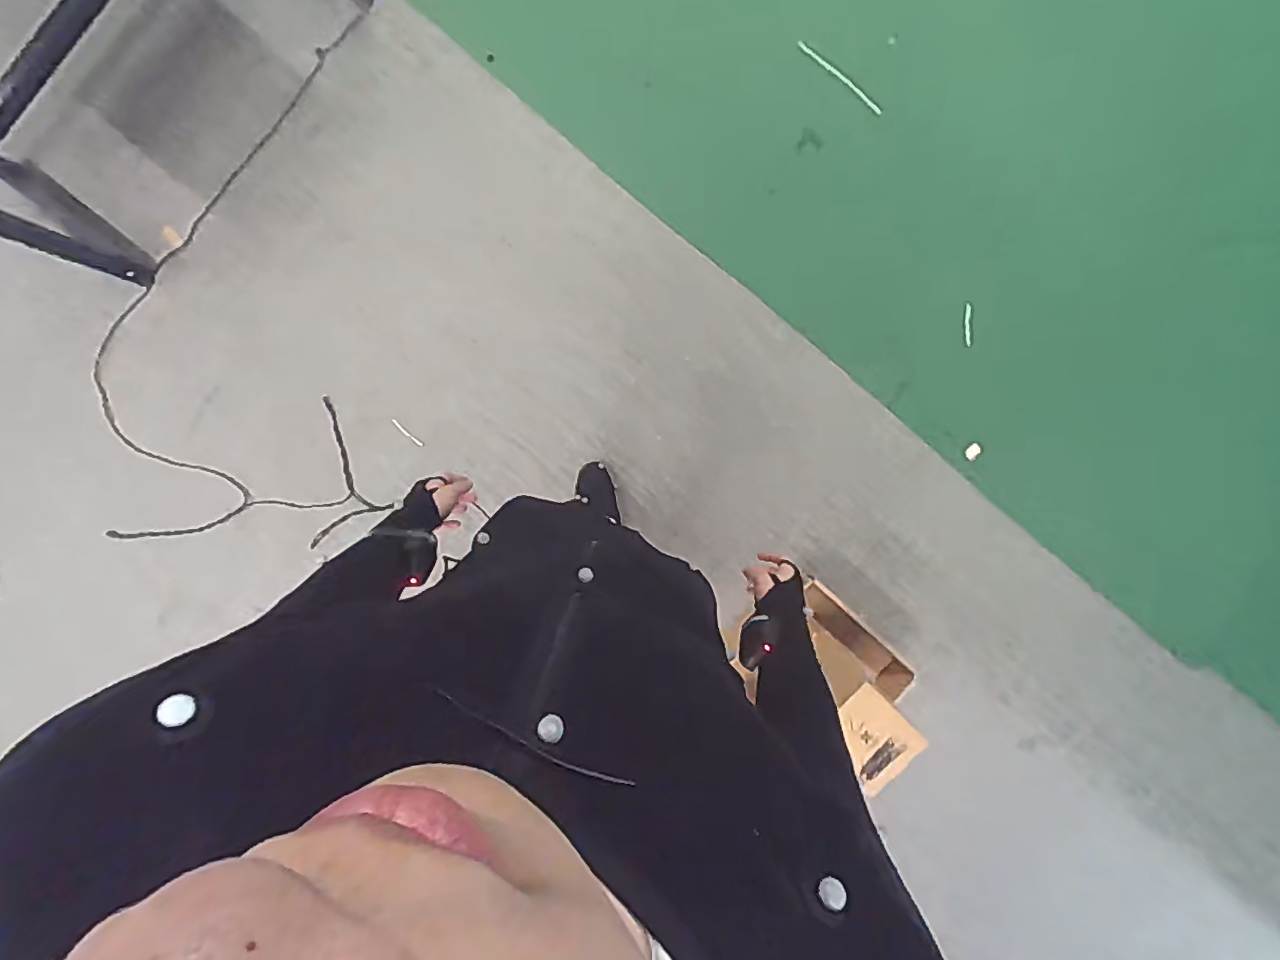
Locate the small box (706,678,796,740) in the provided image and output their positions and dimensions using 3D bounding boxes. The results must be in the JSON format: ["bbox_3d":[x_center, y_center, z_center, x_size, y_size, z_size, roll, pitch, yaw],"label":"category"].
[{"bbox_3d":[0.302,0.685,1.520,0.179,0.176,0.168,41,92,1],"label":"small box"}]

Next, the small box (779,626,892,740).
[{"bbox_3d":[0.475,0.494,1.344,0.168,0.176,0.179,-44,91,2],"label":"small box"}]

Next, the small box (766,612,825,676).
[{"bbox_3d":[0.477,0.490,1.509,0.179,0.176,0.168,41,94,1],"label":"small box"}]
